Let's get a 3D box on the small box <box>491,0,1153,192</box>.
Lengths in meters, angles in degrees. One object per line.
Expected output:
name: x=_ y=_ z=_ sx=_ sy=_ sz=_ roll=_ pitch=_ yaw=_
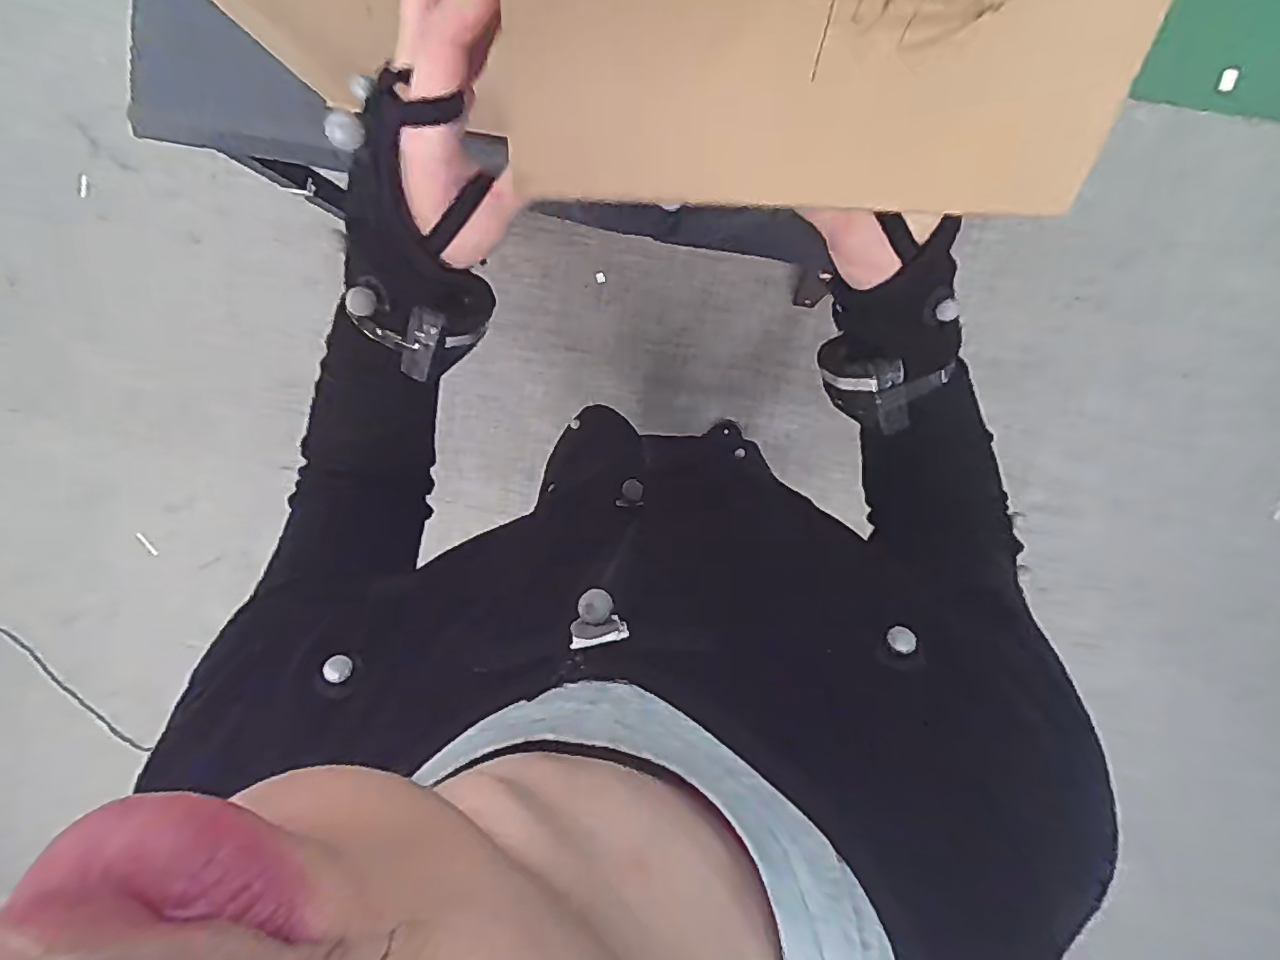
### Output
small box: x=0.039 y=-0.201 z=0.163 sx=0.168 sy=0.176 sz=0.179 roll=-2 pitch=126 yaw=-10
